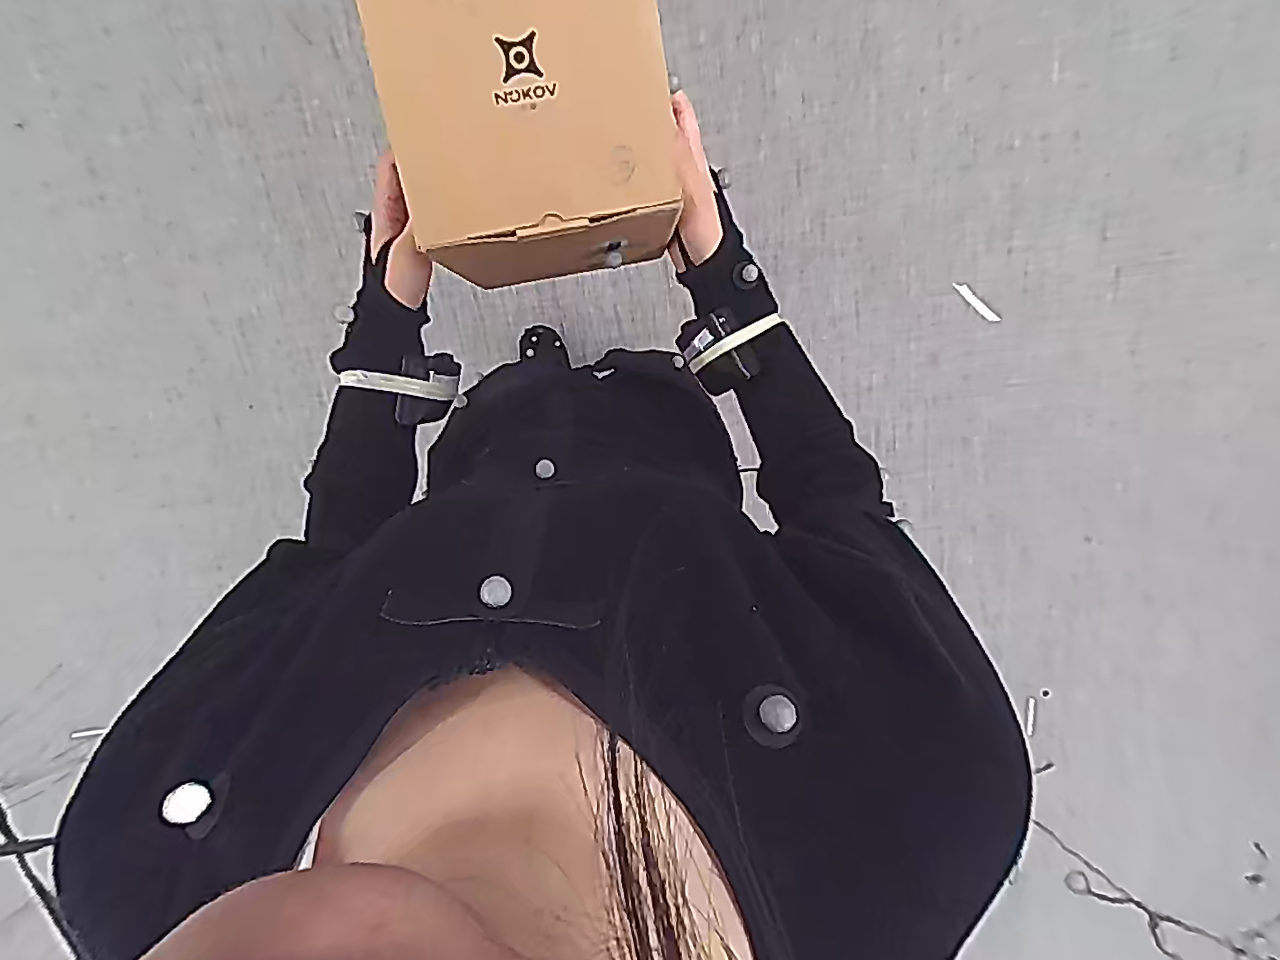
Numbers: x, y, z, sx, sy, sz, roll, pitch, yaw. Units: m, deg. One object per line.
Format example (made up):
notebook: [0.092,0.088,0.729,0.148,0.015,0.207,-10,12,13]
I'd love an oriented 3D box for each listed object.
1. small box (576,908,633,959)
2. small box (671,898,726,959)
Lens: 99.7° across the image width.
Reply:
small box: [-0.115,1.603,1.826,0.168,0.176,0.179,-9,104,0]
small box: [0.200,1.566,1.829,0.168,0.176,0.179,-7,106,0]
